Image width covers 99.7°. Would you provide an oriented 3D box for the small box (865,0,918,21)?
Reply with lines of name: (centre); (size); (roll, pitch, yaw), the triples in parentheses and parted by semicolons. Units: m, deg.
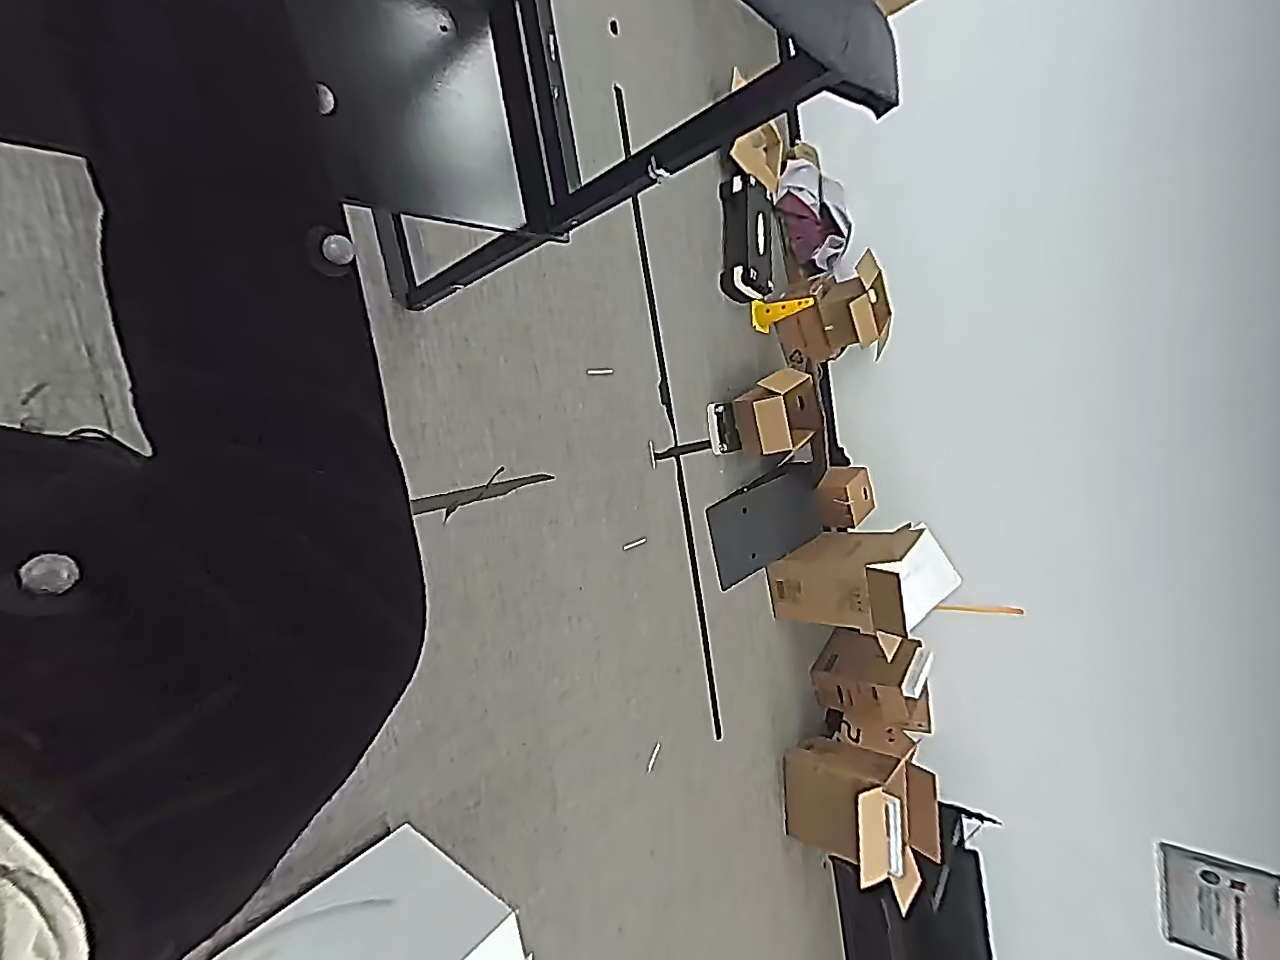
small box: (0.349, -0.748, 0.678); (0.168, 0.176, 0.179); (-17, 99, -47)
